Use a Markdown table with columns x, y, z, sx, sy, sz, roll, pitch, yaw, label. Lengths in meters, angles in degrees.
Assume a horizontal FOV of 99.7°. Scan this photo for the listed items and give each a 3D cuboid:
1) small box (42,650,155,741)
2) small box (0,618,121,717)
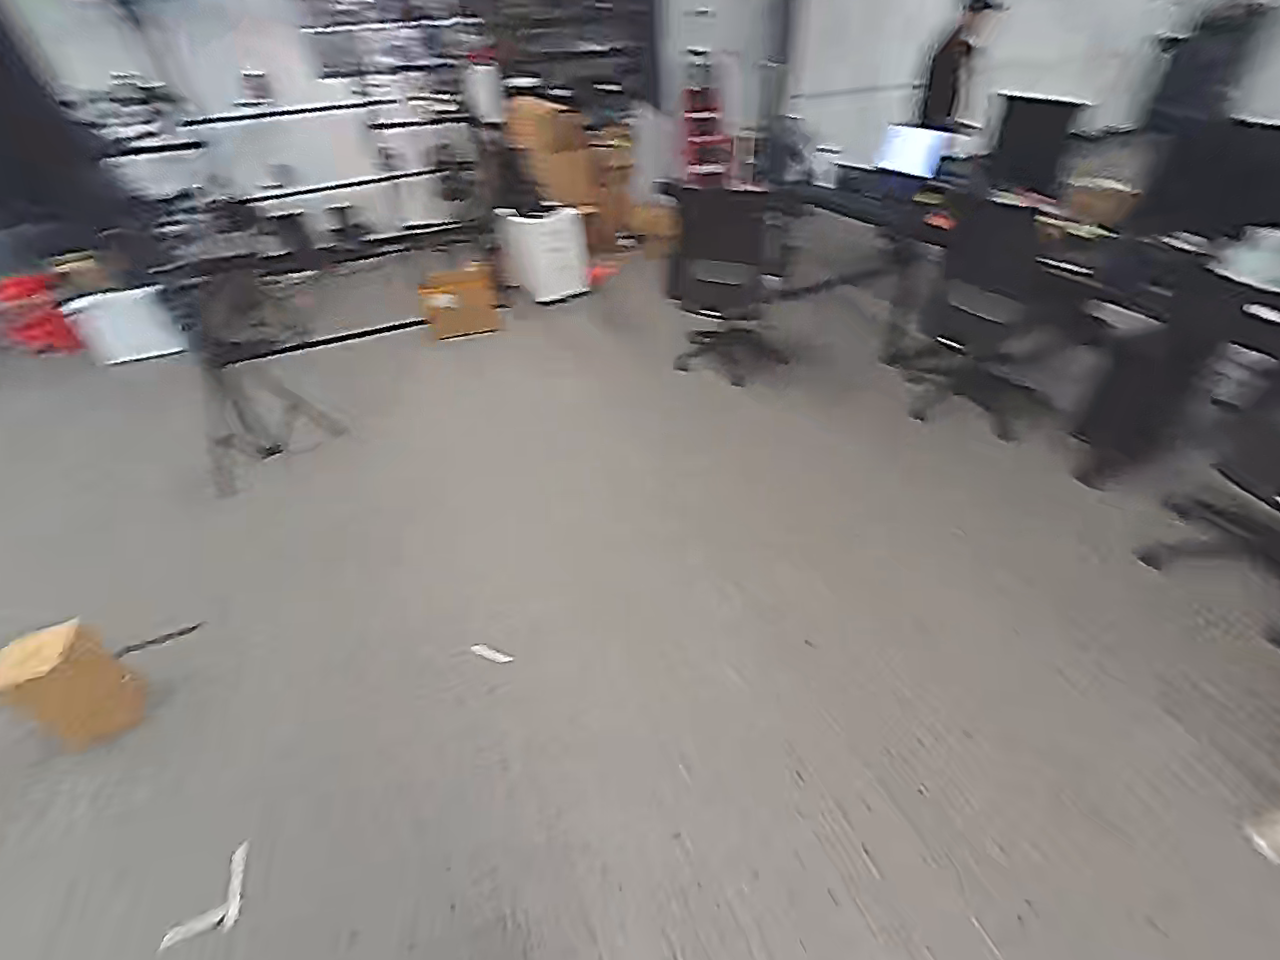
| x | y | z | sx | sy | sz | roll | pitch | yaw | label |
| --- | --- | --- | --- | --- | --- | --- | --- | --- | --- |
| -1.632 | 0.660 | 1.644 | 0.168 | 0.176 | 0.179 | -19 | 41 | -17 | small box |
| -1.643 | 0.534 | 1.542 | 0.168 | 0.176 | 0.179 | -19 | 42 | -16 | small box |
